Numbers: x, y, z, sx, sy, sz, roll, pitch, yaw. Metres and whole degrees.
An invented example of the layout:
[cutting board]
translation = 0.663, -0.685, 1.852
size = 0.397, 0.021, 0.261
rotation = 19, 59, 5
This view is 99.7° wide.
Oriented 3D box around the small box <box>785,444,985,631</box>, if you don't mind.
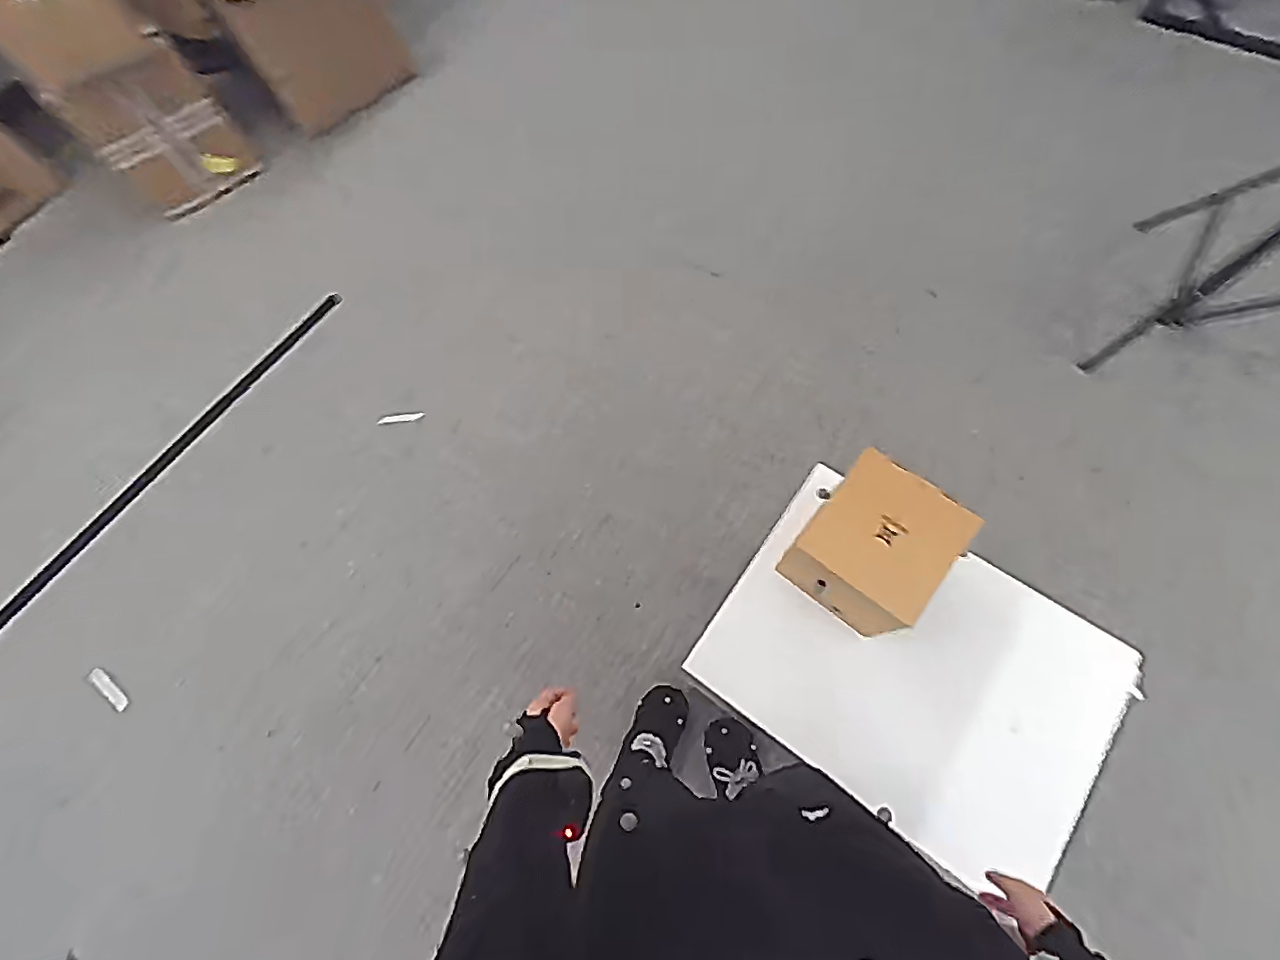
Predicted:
[small box]
translation = 0.319, 0.089, 0.748
size = 0.168, 0.176, 0.179
rotation = 38, 76, 16
